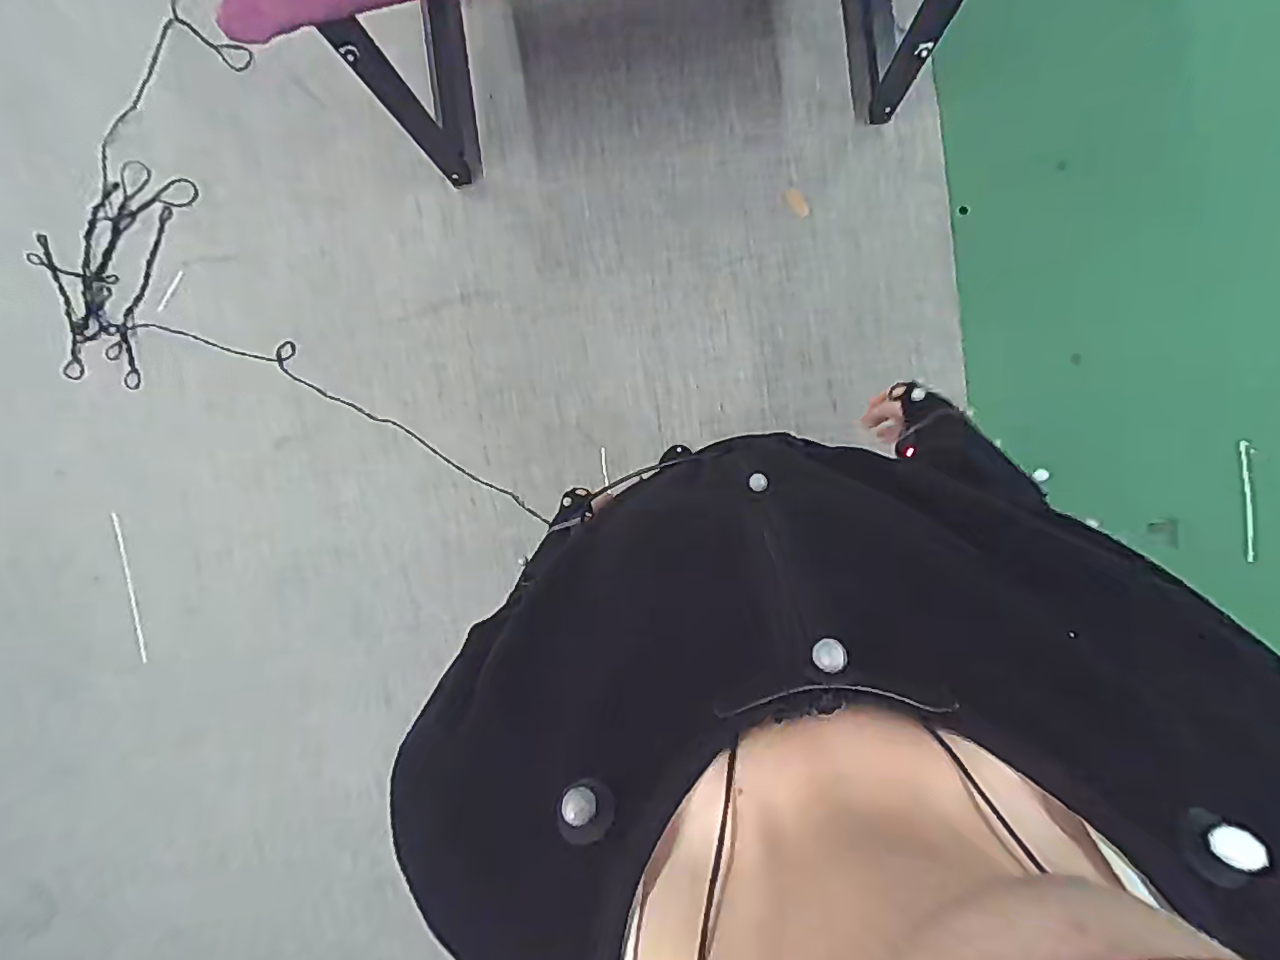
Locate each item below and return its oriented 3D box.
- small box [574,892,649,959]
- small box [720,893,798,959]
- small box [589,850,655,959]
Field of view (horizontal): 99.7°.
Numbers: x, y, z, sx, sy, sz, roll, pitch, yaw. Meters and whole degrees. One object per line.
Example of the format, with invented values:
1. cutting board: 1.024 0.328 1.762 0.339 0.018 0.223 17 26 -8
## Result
1. small box: -0.067 1.166 1.324 0.168 0.176 0.179 3 93 5
2. small box: 0.279 1.137 1.295 0.168 0.176 0.179 0 93 6
3. small box: -0.048 1.160 1.486 0.168 0.176 0.179 0 94 5
